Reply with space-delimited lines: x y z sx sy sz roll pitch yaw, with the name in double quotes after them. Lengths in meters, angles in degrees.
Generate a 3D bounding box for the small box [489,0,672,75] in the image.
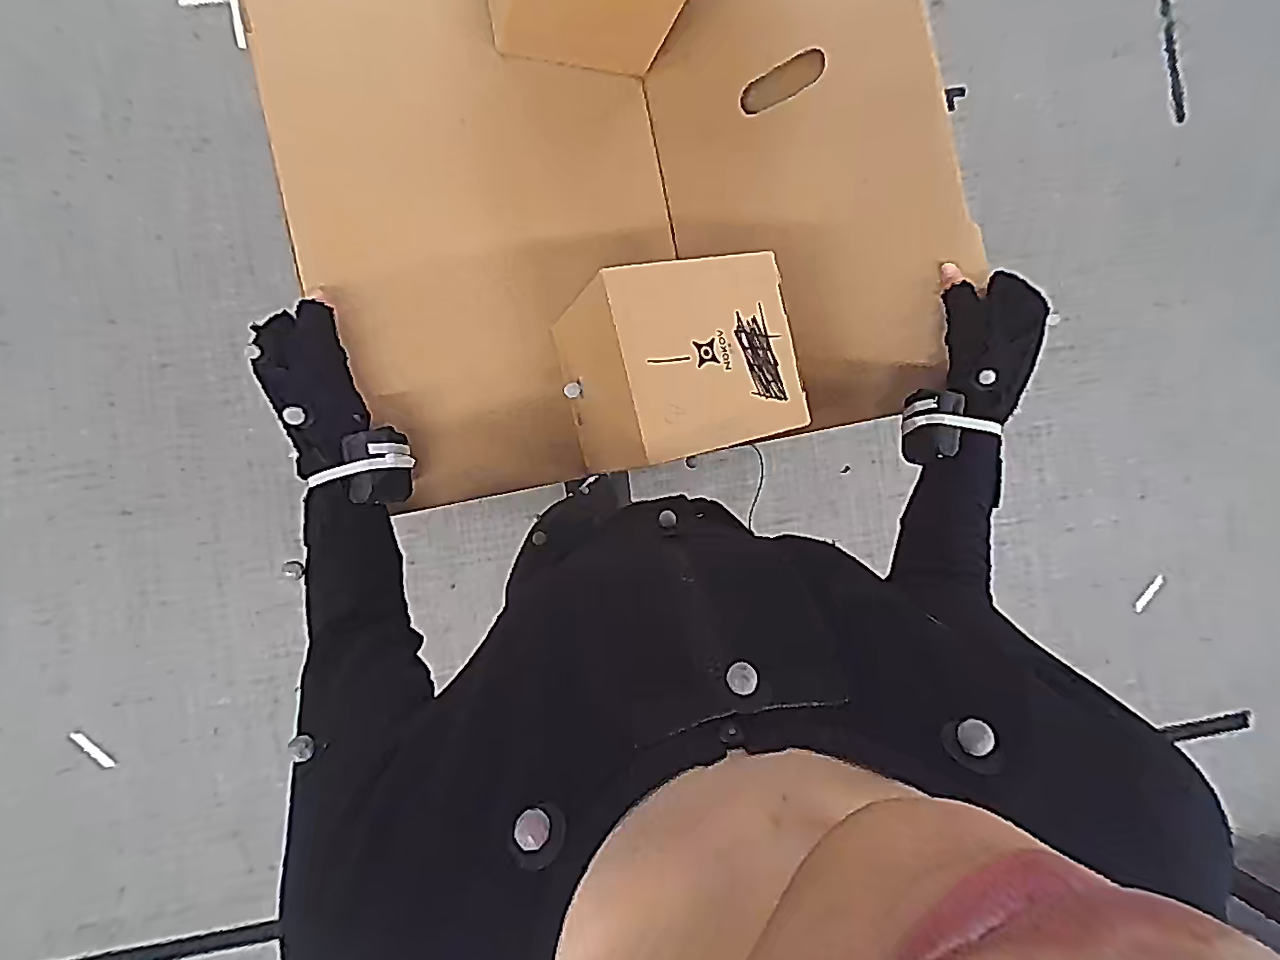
-0.058 -0.548 0.536 0.179 0.176 0.168 -9 90 -24 "small box"
